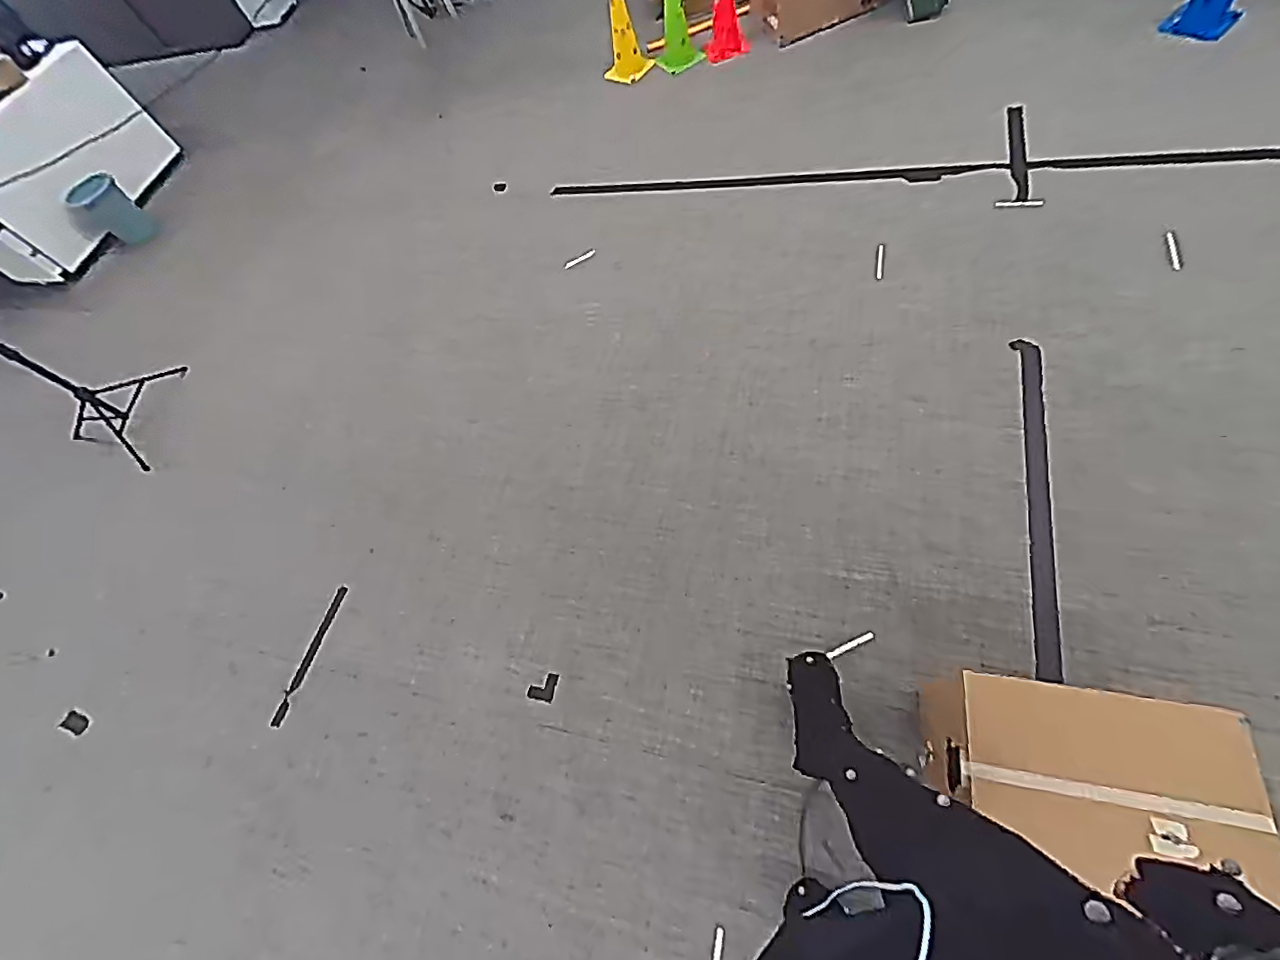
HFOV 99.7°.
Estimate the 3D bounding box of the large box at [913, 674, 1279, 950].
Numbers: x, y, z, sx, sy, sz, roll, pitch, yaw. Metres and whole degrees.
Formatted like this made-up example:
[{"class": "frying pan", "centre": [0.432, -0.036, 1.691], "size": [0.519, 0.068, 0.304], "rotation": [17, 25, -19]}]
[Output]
[{"class": "large box", "centre": [0.750, 0.556, 0.969], "size": [0.408, 0.320, 0.320], "rotation": [5, 65, 14]}]
